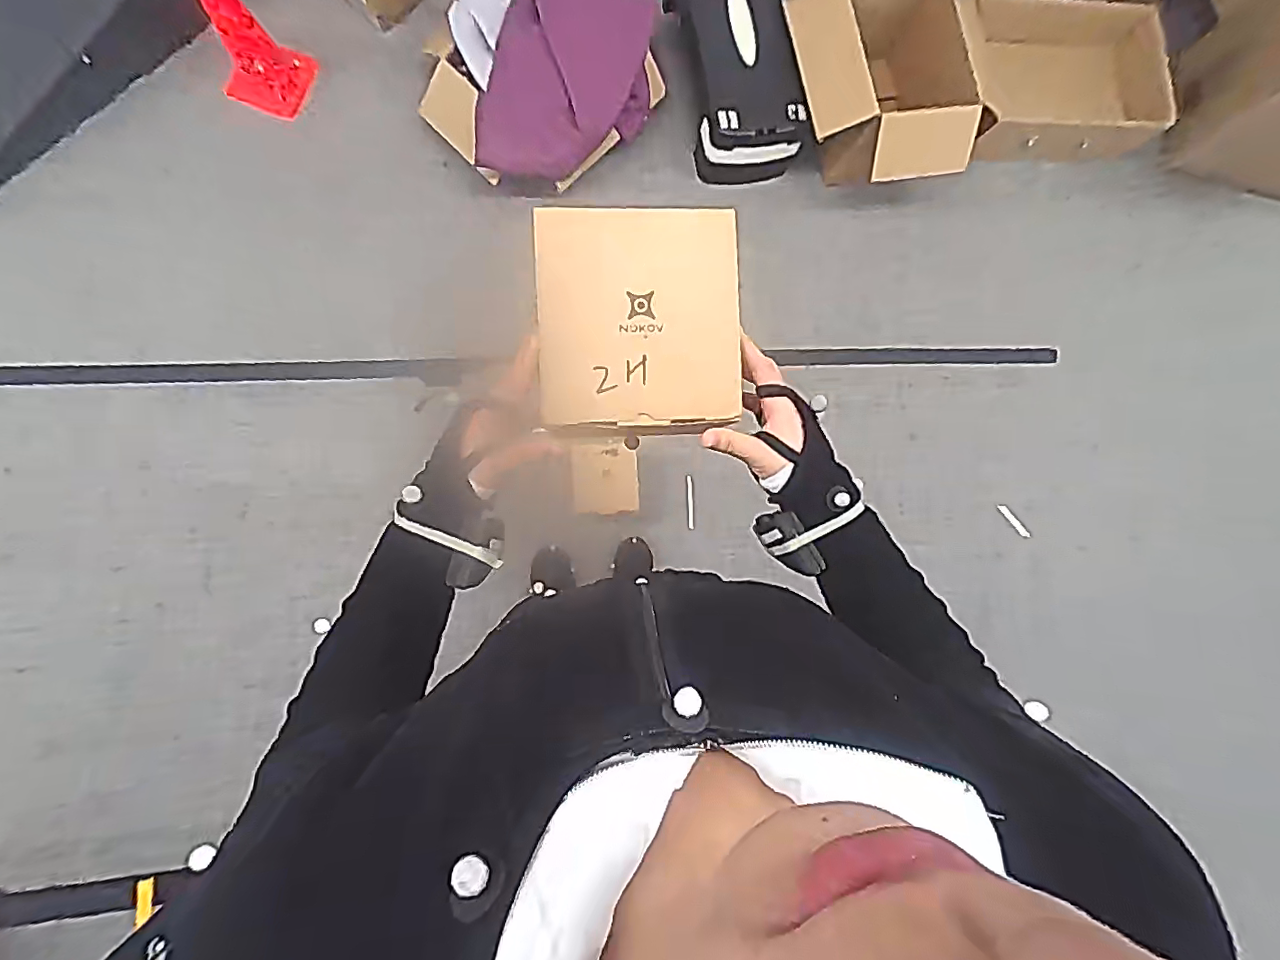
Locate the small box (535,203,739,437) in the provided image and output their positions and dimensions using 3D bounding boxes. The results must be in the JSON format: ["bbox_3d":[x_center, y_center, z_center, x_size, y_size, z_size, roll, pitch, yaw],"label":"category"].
[{"bbox_3d":[-0.009,-0.136,0.517,0.168,0.176,0.179,-2,91,-4],"label":"small box"}]

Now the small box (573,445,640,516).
[{"bbox_3d":[-0.092,0.006,1.443,0.168,0.176,0.179,-2,85,-7],"label":"small box"}]
